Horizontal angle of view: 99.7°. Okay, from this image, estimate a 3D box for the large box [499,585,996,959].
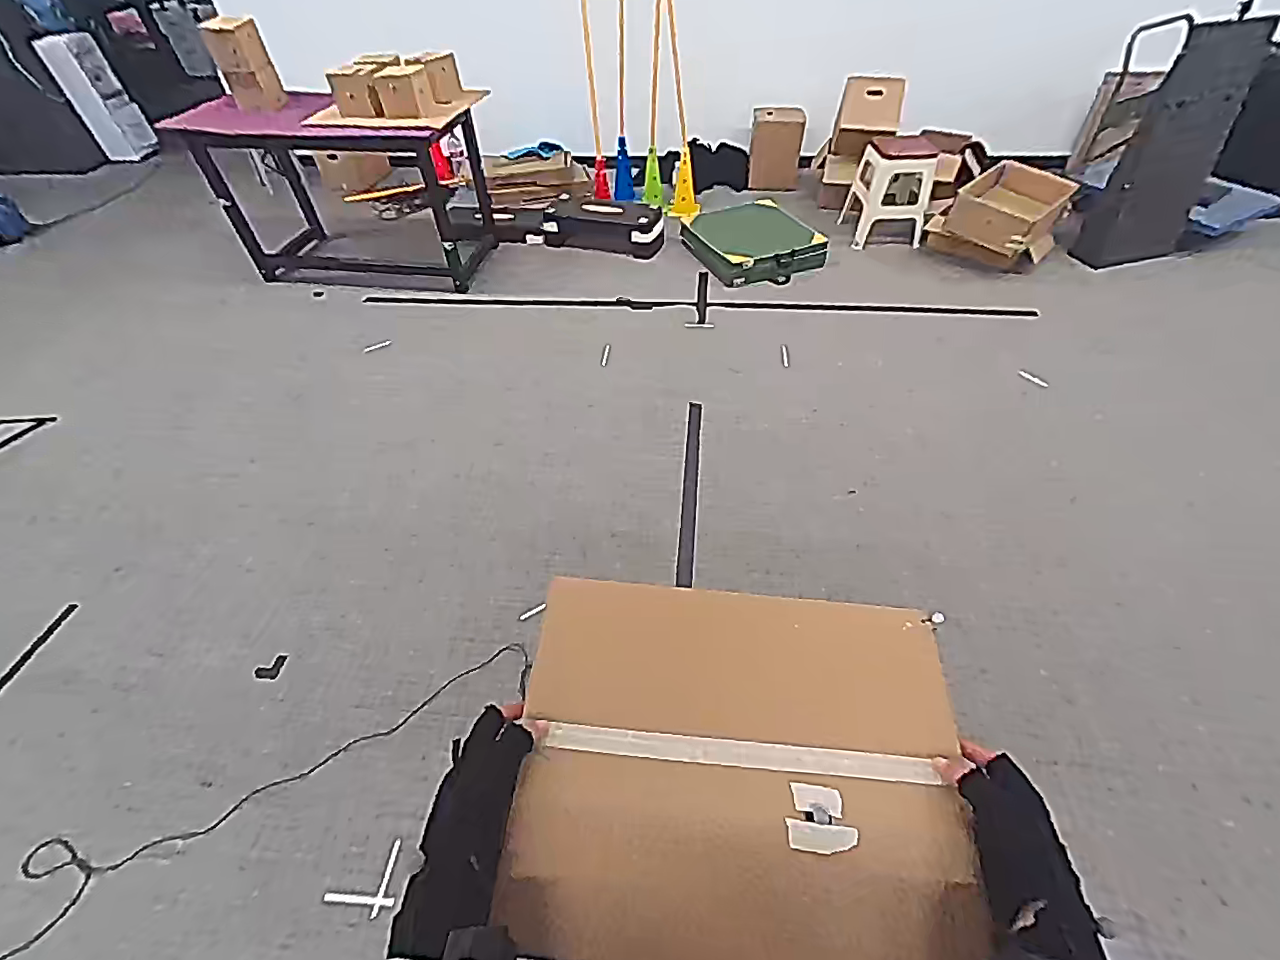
[{"bbox_3d":[0.089,0.339,0.631,0.408,0.320,0.320,4,56,2],"label":"large box"}]
